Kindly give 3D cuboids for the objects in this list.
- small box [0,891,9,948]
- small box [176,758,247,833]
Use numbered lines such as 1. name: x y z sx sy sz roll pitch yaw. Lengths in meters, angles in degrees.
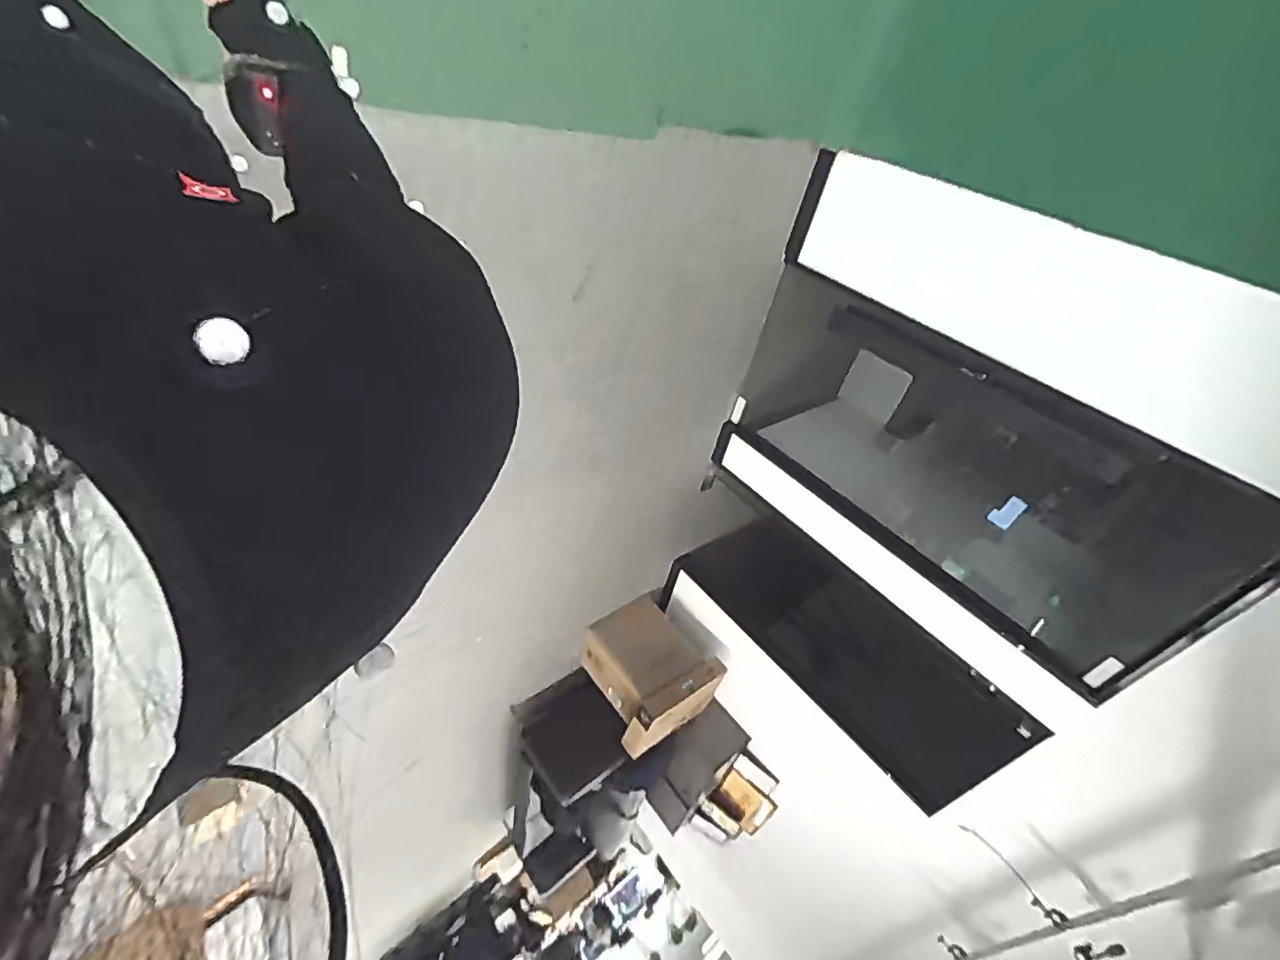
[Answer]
1. small box: -2.212 1.467 1.750 0.179 0.176 0.168 -23 142 -36
2. small box: -1.693 1.240 2.136 0.168 0.176 0.179 -23 143 -35
